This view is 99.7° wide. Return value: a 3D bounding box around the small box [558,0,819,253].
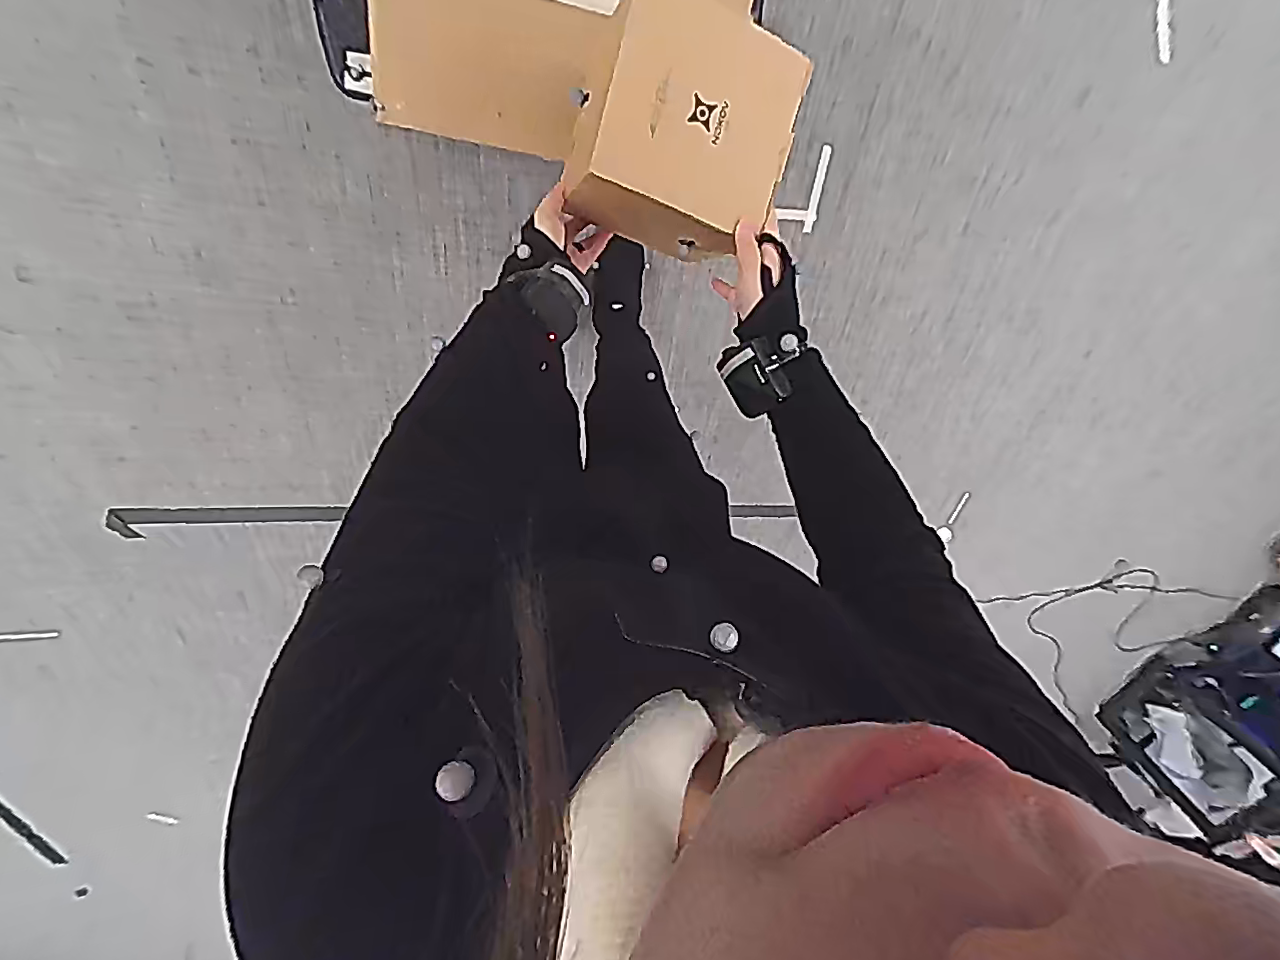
[{"bbox_3d":[0.034,-0.339,0.536,0.179,0.176,0.168,13,100,-22],"label":"small box"}]
